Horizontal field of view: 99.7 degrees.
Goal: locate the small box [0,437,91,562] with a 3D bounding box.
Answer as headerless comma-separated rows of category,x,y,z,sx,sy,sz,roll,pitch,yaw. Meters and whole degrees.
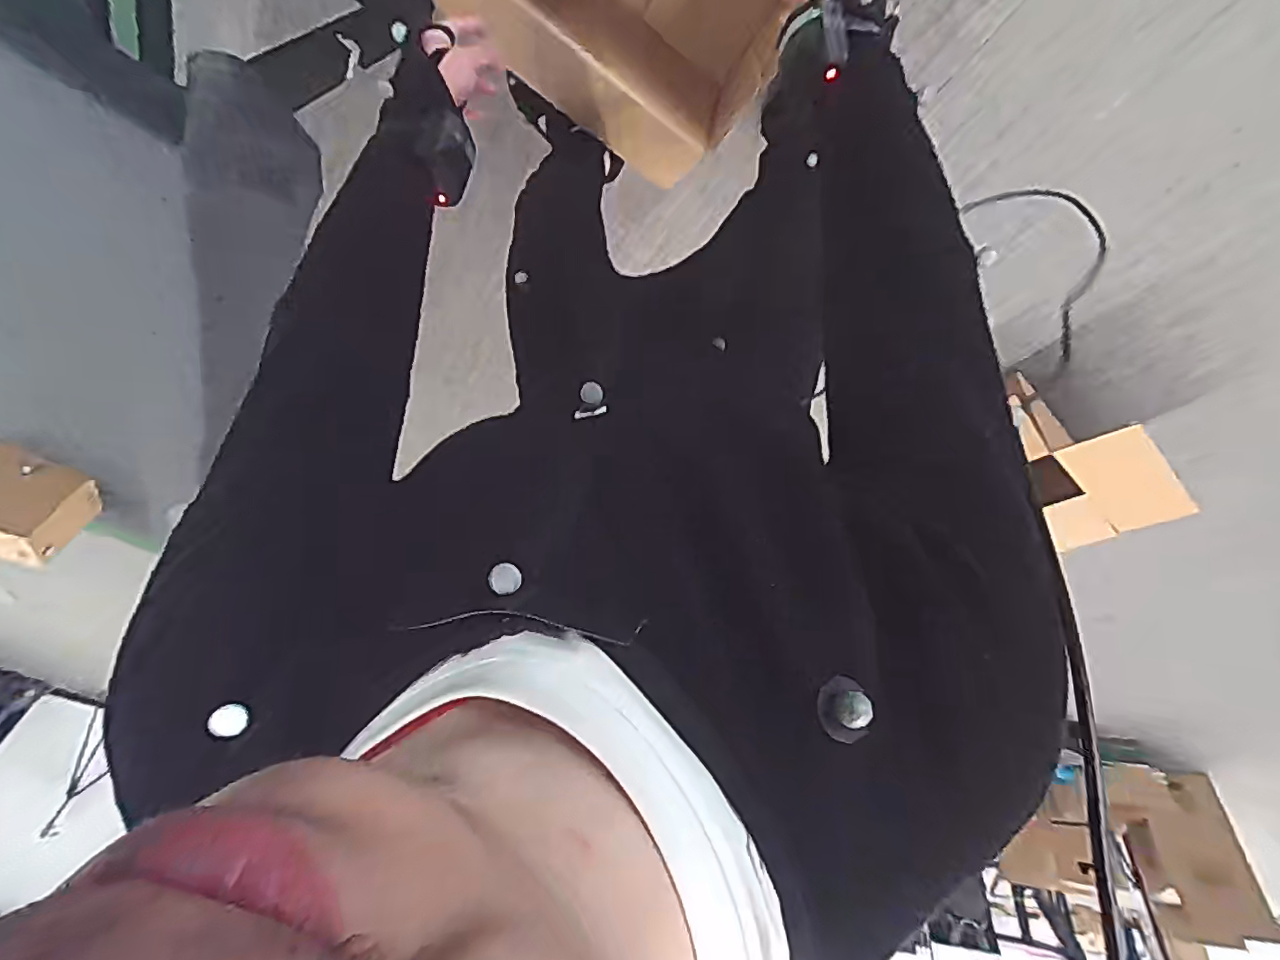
small box,-1.305,0.036,1.115,0.179,0.176,0.168,30,137,-21
